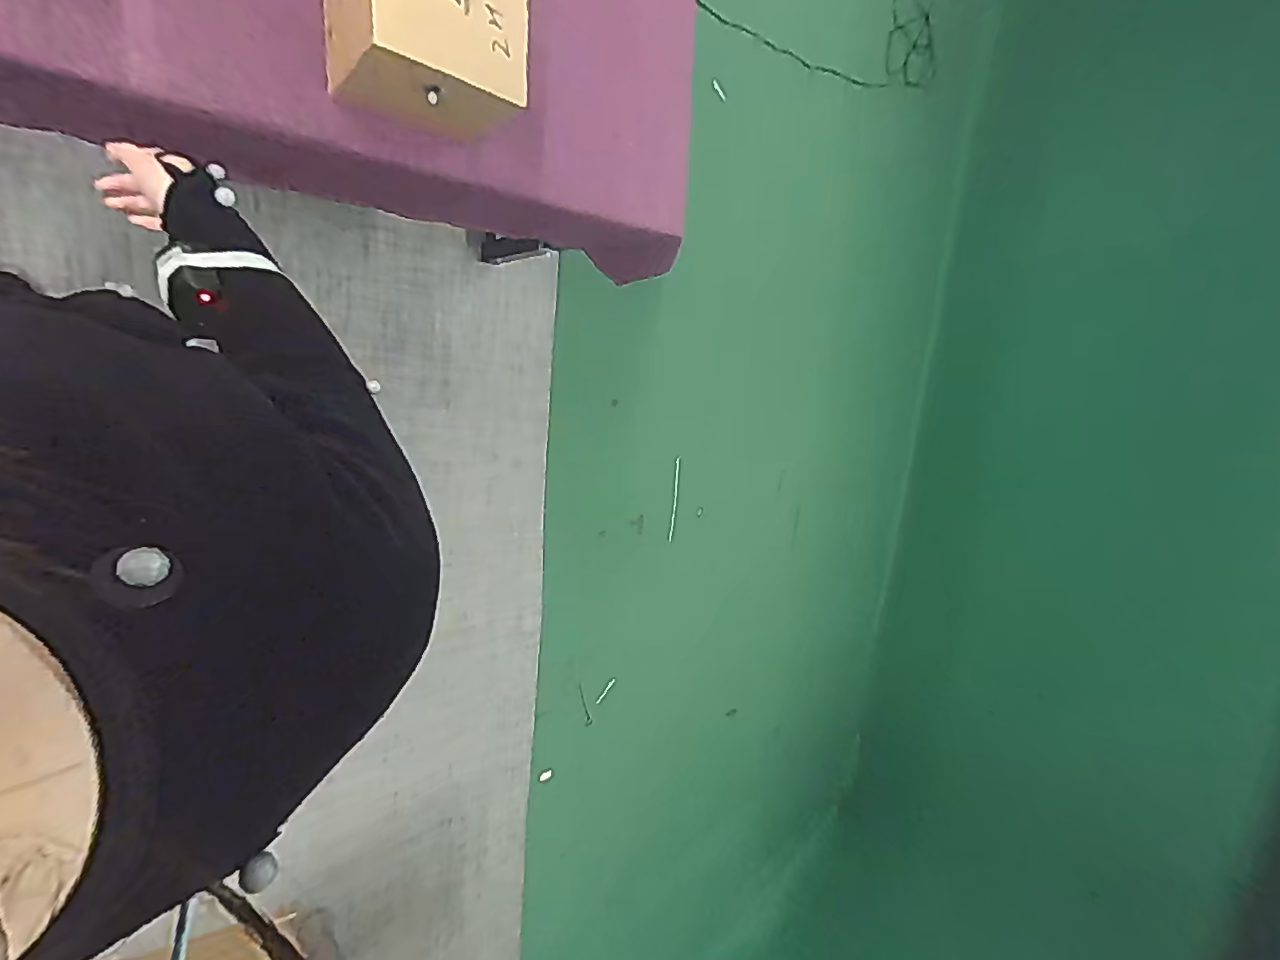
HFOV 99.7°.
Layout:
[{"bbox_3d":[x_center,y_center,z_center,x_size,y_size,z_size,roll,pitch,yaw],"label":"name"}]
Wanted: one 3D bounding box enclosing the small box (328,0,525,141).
[{"bbox_3d":[-0.254,-0.528,0.634,0.179,0.176,0.168,-7,106,-43],"label":"small box"}]
